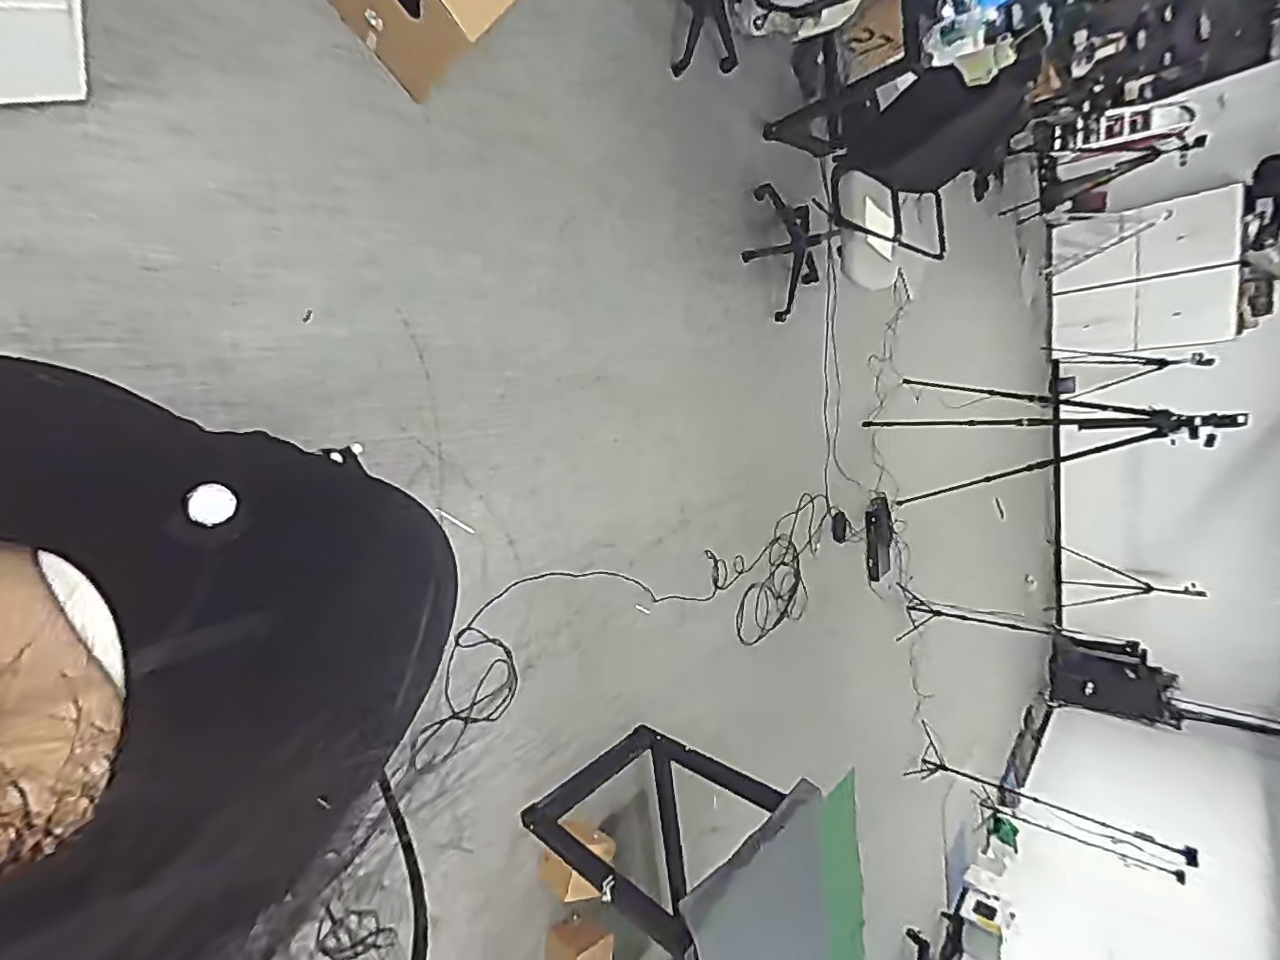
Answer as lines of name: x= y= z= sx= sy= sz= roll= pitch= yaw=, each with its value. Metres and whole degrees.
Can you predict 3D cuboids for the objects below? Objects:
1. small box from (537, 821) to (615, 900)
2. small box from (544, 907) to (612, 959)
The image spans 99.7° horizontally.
small box: x=-0.220 y=1.287 z=1.841 sx=0.179 sy=0.176 sz=0.168 roll=30 pitch=70 yaw=-42
small box: x=-0.214 y=1.628 z=1.851 sx=0.168 sy=0.176 sz=0.179 roll=4 pitch=86 yaw=-46
